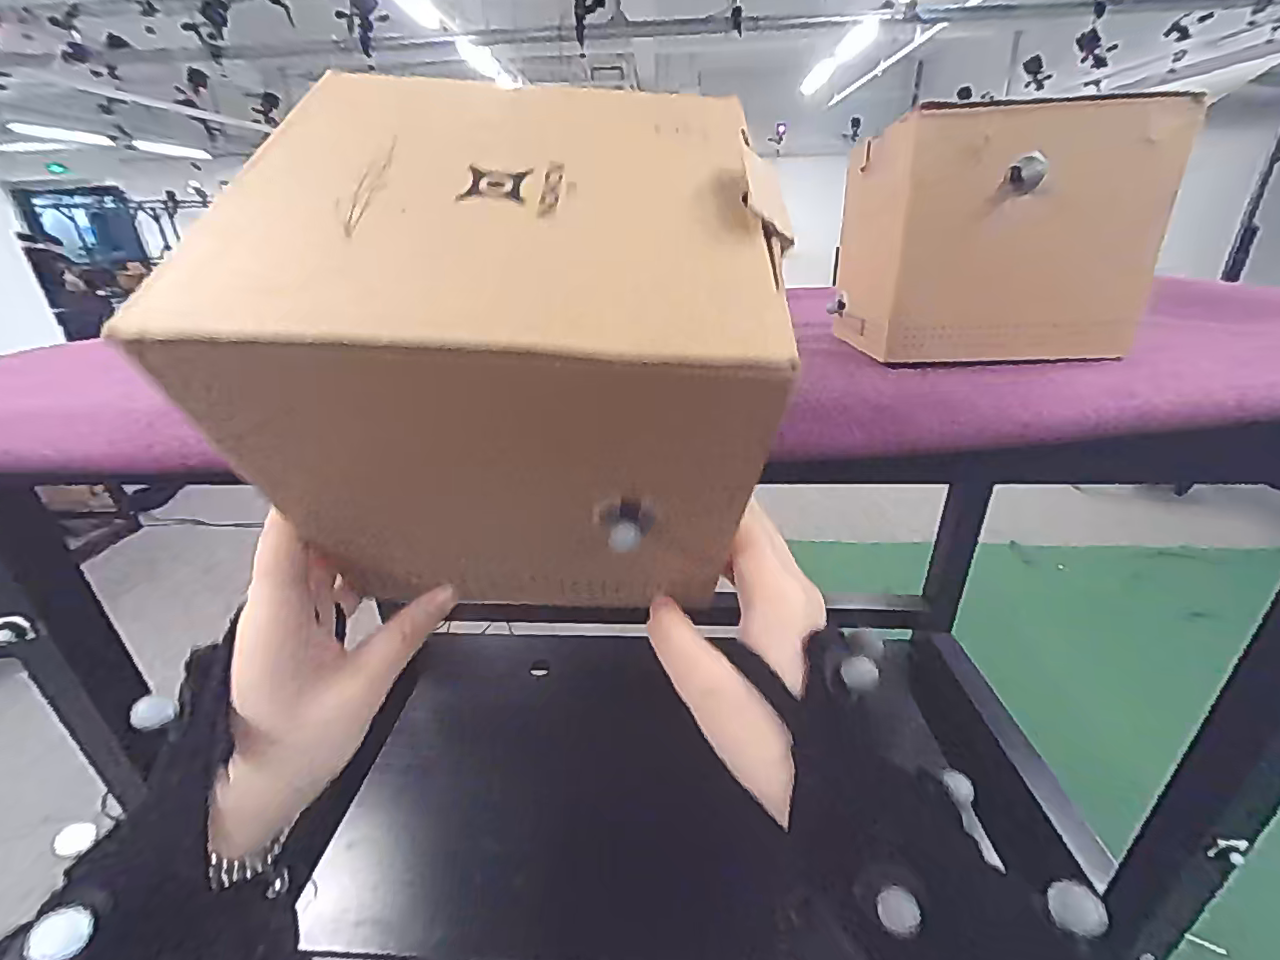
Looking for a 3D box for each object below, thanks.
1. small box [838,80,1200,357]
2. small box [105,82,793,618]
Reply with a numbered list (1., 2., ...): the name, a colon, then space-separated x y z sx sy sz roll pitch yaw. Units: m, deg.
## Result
1. small box: 0.270 -0.198 0.441 0.179 0.176 0.168 0 24 5
2. small box: -0.048 -0.045 0.245 0.179 0.176 0.168 1 56 -1
